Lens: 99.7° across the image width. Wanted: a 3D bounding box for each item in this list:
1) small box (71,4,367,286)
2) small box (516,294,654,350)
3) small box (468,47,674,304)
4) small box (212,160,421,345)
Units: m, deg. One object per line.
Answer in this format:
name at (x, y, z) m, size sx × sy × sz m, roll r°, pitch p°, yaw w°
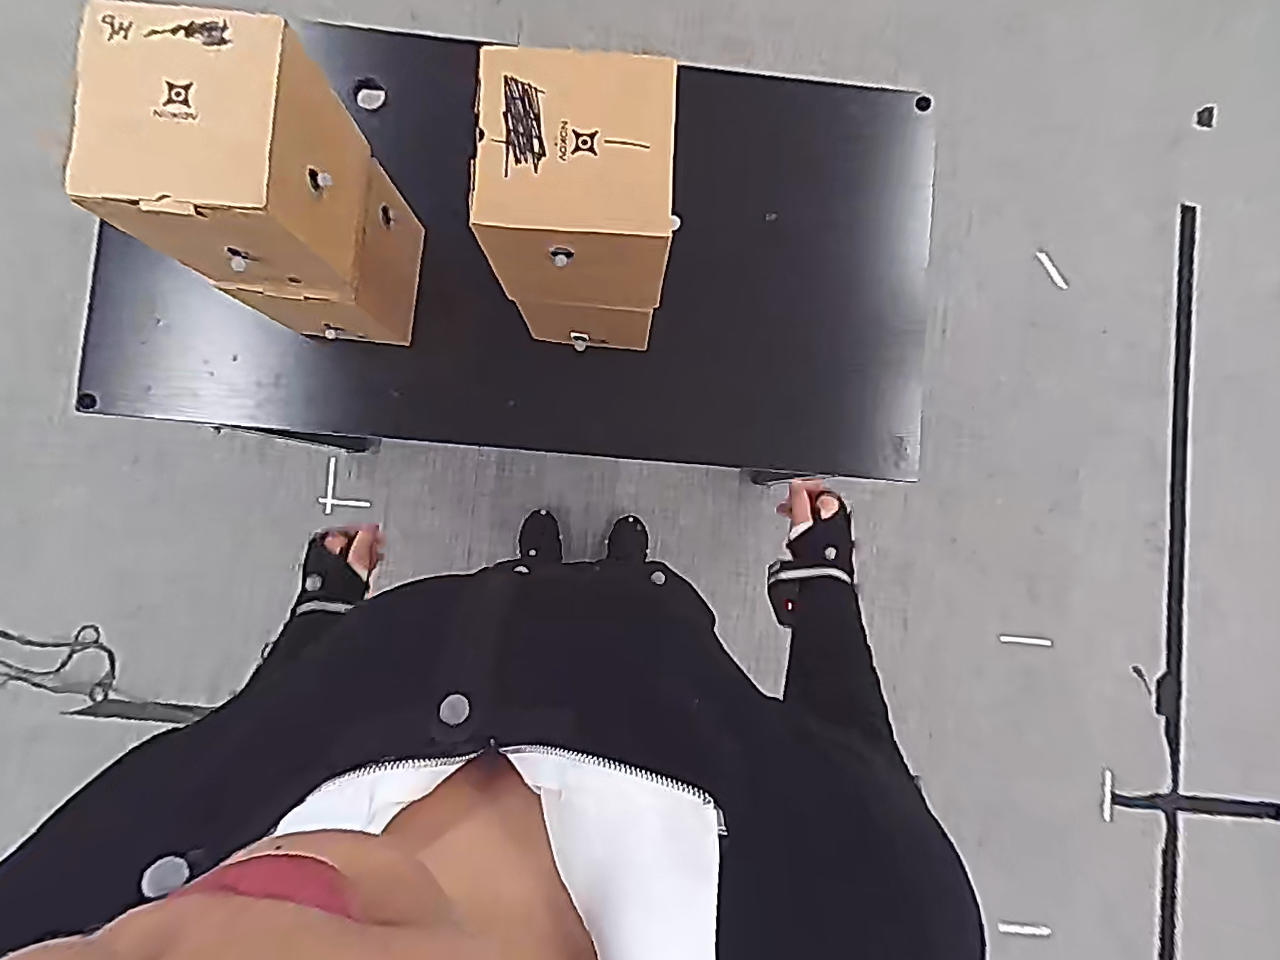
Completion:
small box at (-0.394, -0.311, 0.539) m, size 0.168 × 0.176 × 0.179 m, roll 3°, pitch 87°, yaw -3°
small box at (-0.063, -0.287, 0.719) m, size 0.168 × 0.176 × 0.179 m, roll 4°, pitch 88°, yaw -1°
small box at (-0.061, -0.293, 0.555) m, size 0.179 × 0.176 × 0.168 m, roll 2°, pitch 87°, yaw -2°
small box at (-0.400, -0.293, 0.702) m, size 0.168 × 0.176 × 0.179 m, roll 6°, pitch 87°, yaw -2°
